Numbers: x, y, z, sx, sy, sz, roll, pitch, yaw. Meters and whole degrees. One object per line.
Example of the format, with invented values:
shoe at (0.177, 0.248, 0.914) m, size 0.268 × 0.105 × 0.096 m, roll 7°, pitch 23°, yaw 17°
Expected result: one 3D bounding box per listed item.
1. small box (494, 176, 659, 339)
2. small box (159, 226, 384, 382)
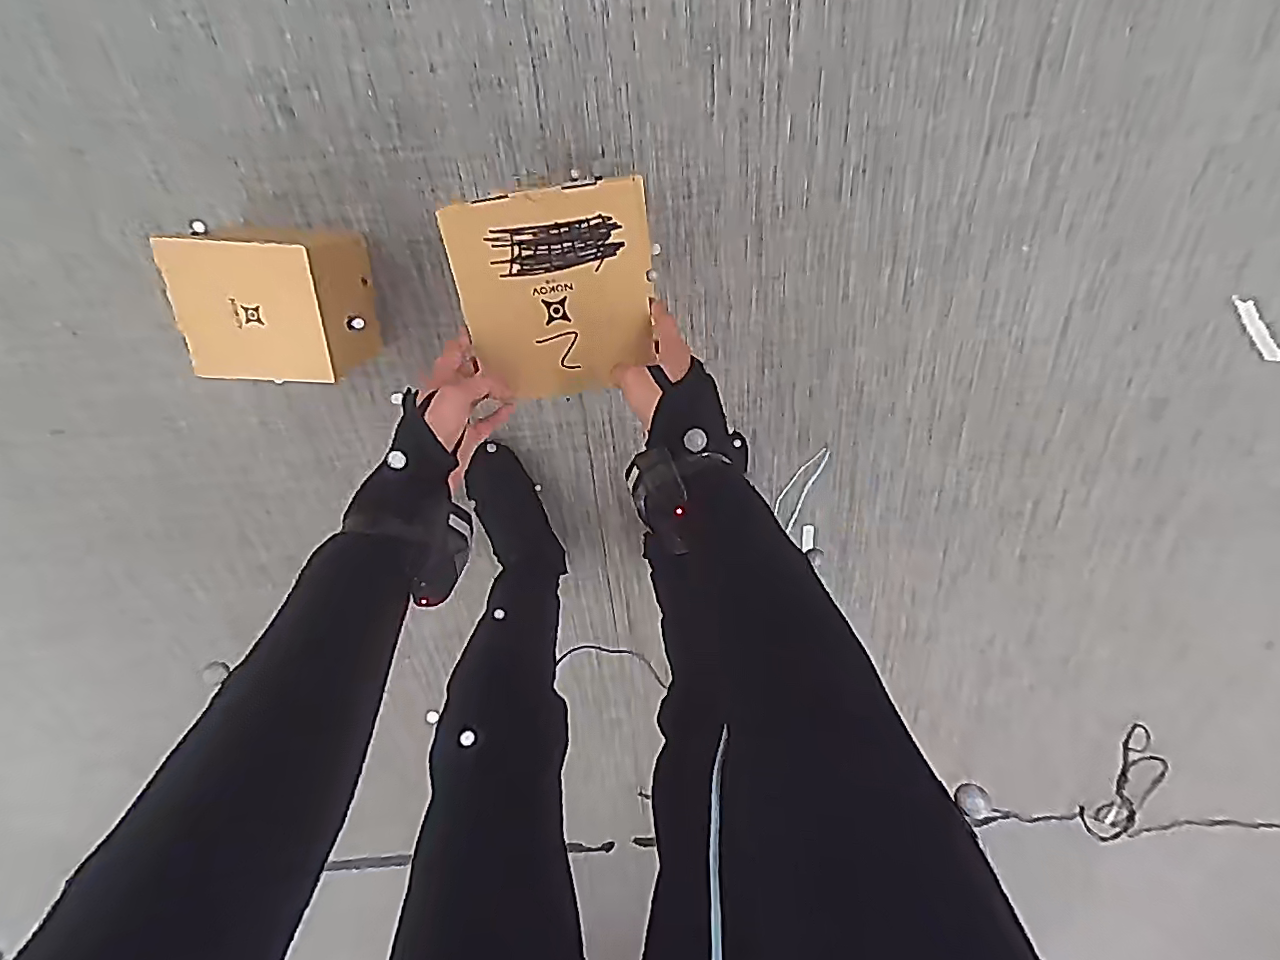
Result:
small box at (-0.071, -0.291, 0.702) m, size 0.179 × 0.176 × 0.168 m, roll -6°, pitch 119°, yaw 1°
small box at (-0.464, -0.240, 0.721) m, size 0.179 × 0.176 × 0.168 m, roll 3°, pitch 119°, yaw -2°
